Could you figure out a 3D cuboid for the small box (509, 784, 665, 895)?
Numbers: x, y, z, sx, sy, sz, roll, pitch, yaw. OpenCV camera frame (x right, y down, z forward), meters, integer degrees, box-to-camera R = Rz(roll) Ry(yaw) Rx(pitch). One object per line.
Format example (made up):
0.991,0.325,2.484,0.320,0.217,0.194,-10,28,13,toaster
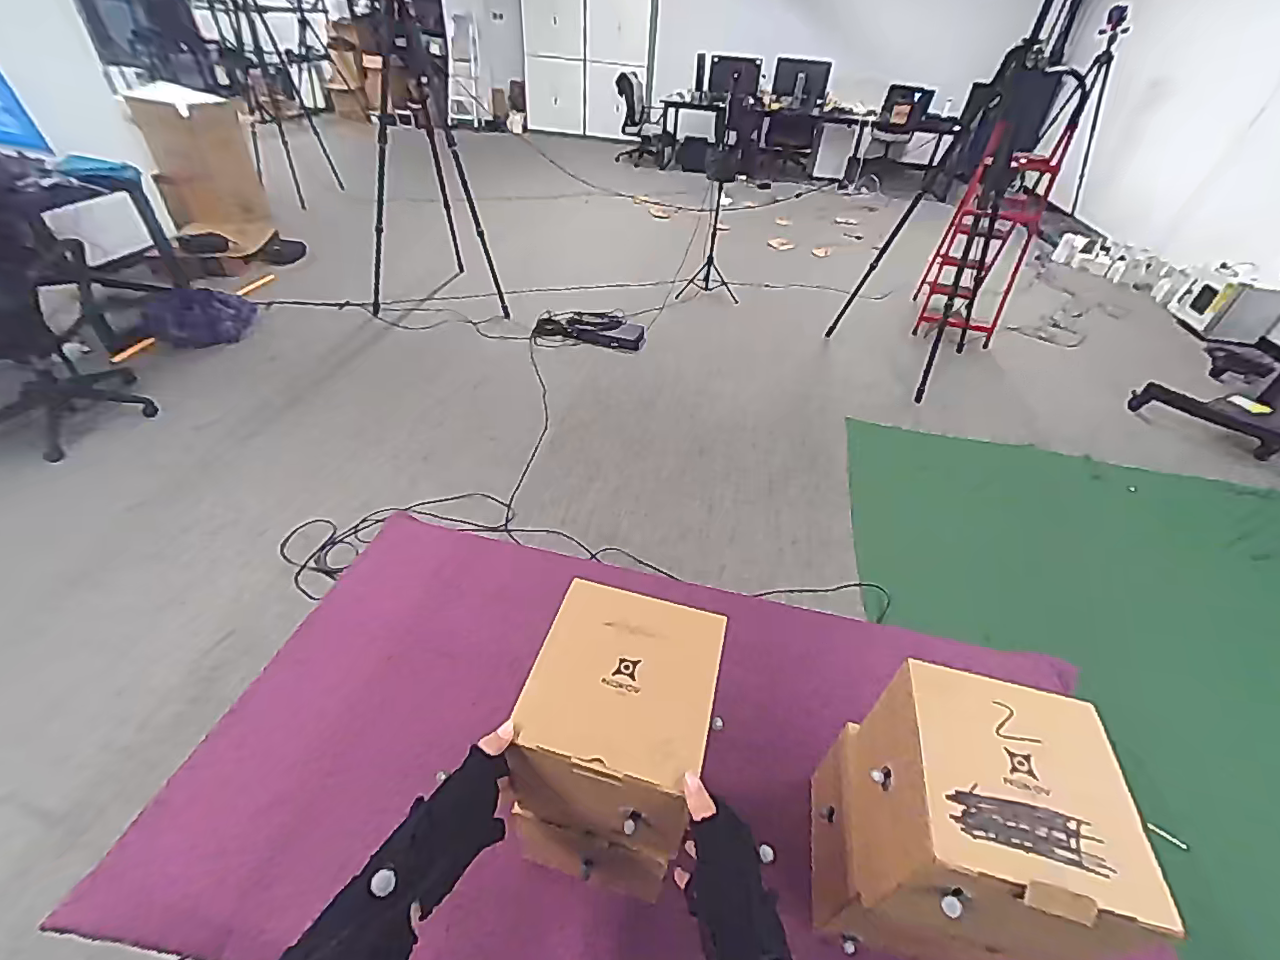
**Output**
-0.036,0.358,0.647,0.168,0.176,0.179,14,42,9,small box

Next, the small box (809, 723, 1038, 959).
0.298,0.417,0.610,0.168,0.176,0.179,15,42,9,small box

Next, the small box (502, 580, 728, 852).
-0.017,0.235,0.541,0.168,0.176,0.179,13,42,9,small box
